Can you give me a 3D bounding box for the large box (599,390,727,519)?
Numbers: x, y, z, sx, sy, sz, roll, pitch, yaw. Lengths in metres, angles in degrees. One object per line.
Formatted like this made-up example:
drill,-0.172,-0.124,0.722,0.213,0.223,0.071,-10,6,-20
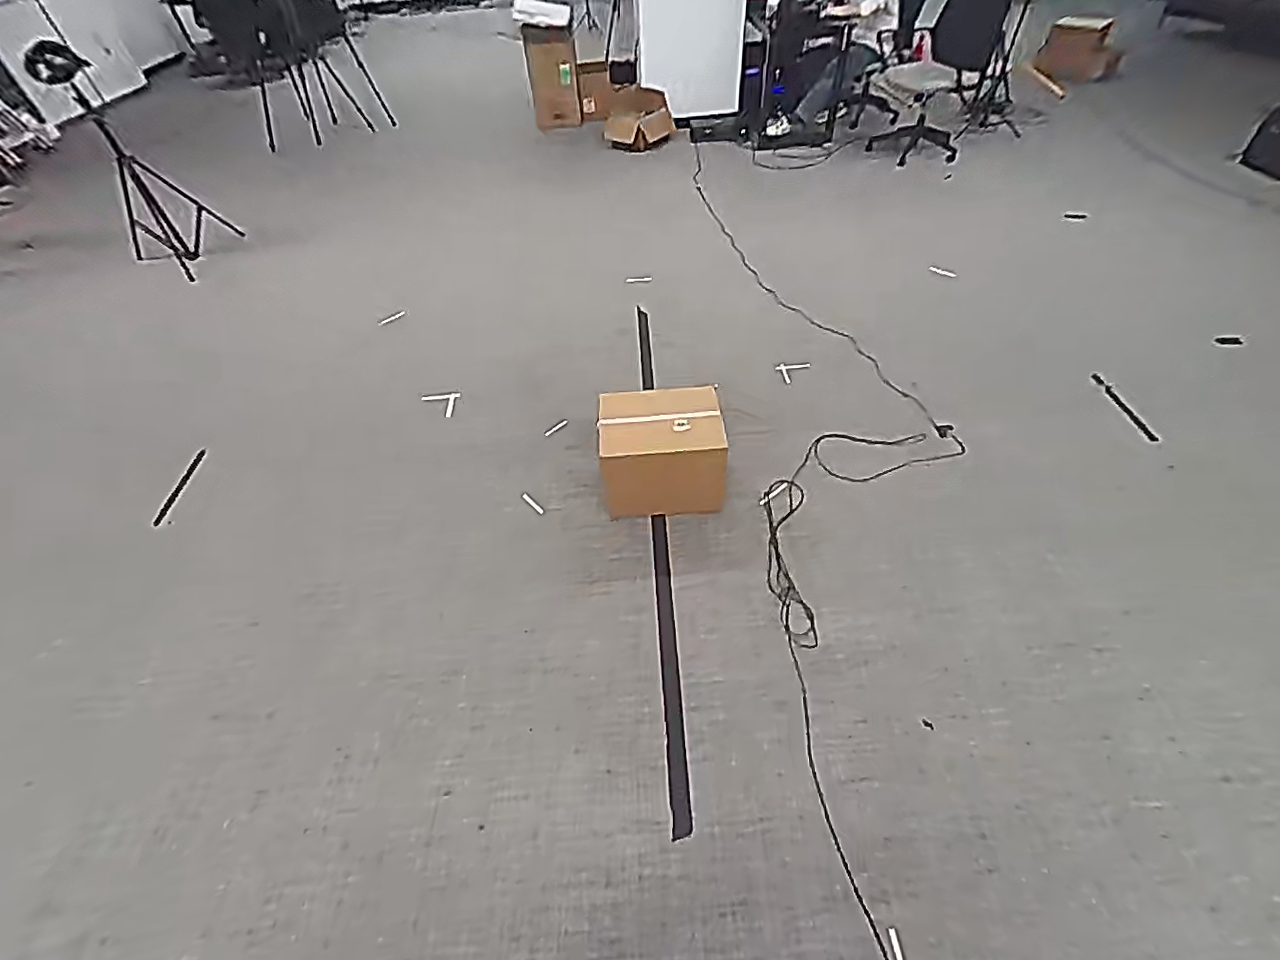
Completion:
large box,0.070,-0.088,1.888,0.408,0.320,0.320,-4,48,0
